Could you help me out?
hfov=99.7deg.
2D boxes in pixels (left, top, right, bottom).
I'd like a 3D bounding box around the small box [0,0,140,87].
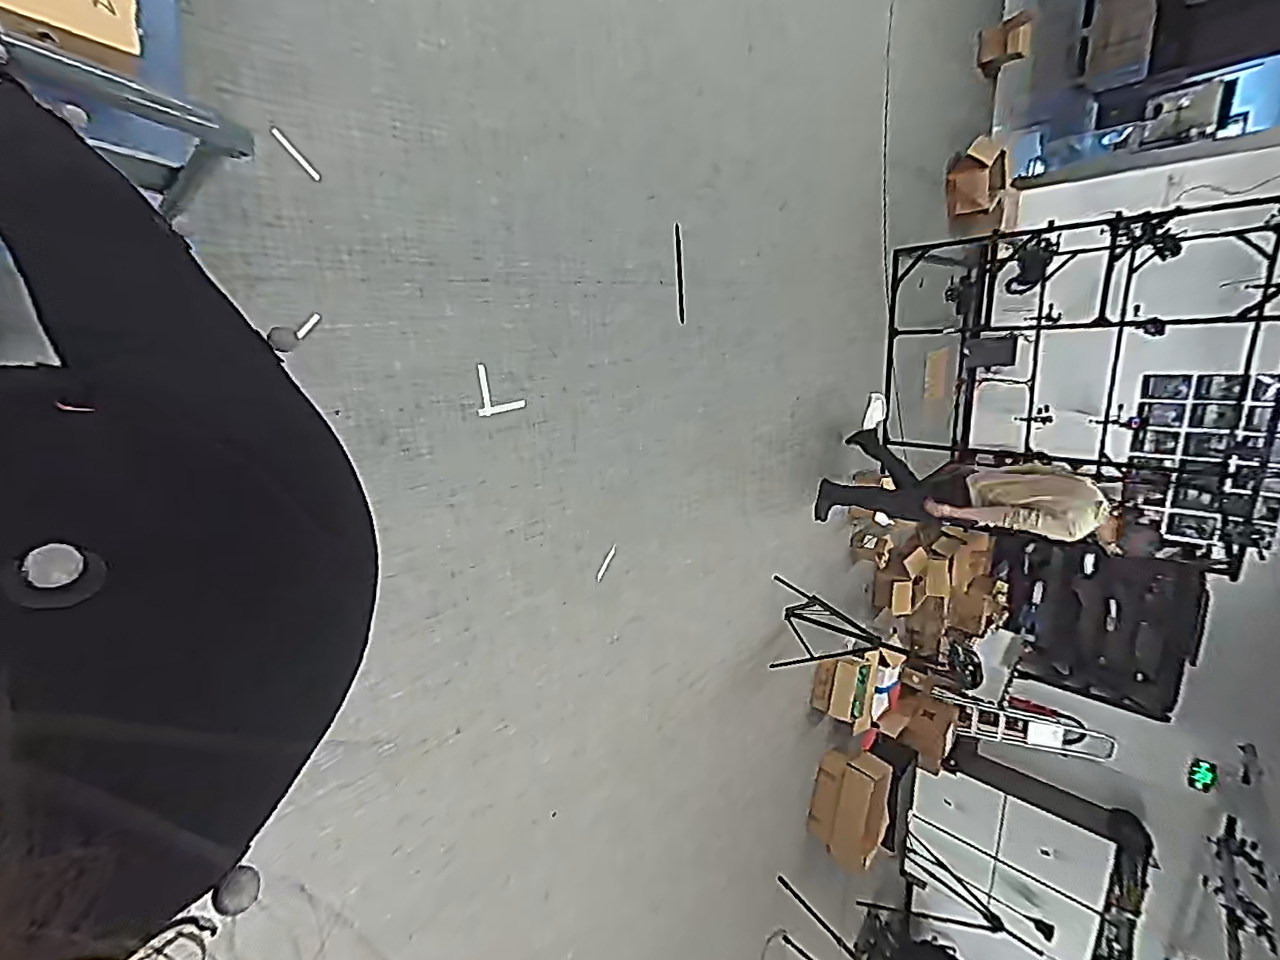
[{"bbox_3d":[-0.864,-0.719,0.792,0.179,0.176,0.168,-7,104,-47],"label":"small box"}]
